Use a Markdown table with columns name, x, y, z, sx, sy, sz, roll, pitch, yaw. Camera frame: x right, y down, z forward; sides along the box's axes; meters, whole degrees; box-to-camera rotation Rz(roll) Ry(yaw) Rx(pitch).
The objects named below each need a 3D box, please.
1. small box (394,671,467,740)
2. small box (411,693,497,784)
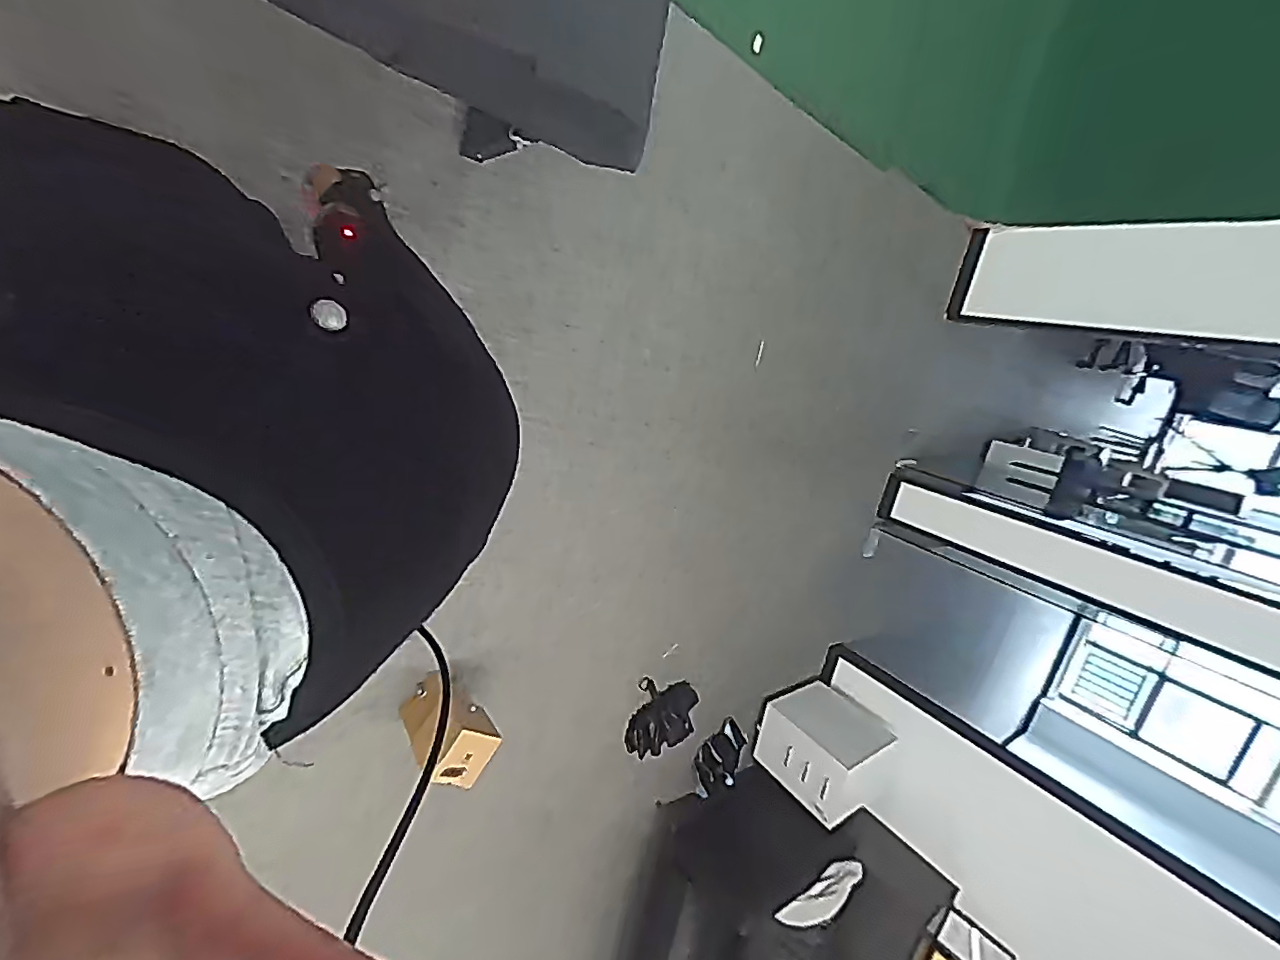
| name | x | y | z | sx | sy | sz | roll | pitch | yaw |
| --- | --- | --- | --- | --- | --- | --- | --- | --- | --- |
| small box | -0.683 | 0.772 | 1.806 | 0.168 | 0.176 | 0.179 | -45 | 129 | -15 |
| small box | -0.583 | 0.798 | 1.675 | 0.179 | 0.176 | 0.168 | -55 | 133 | -8 |
